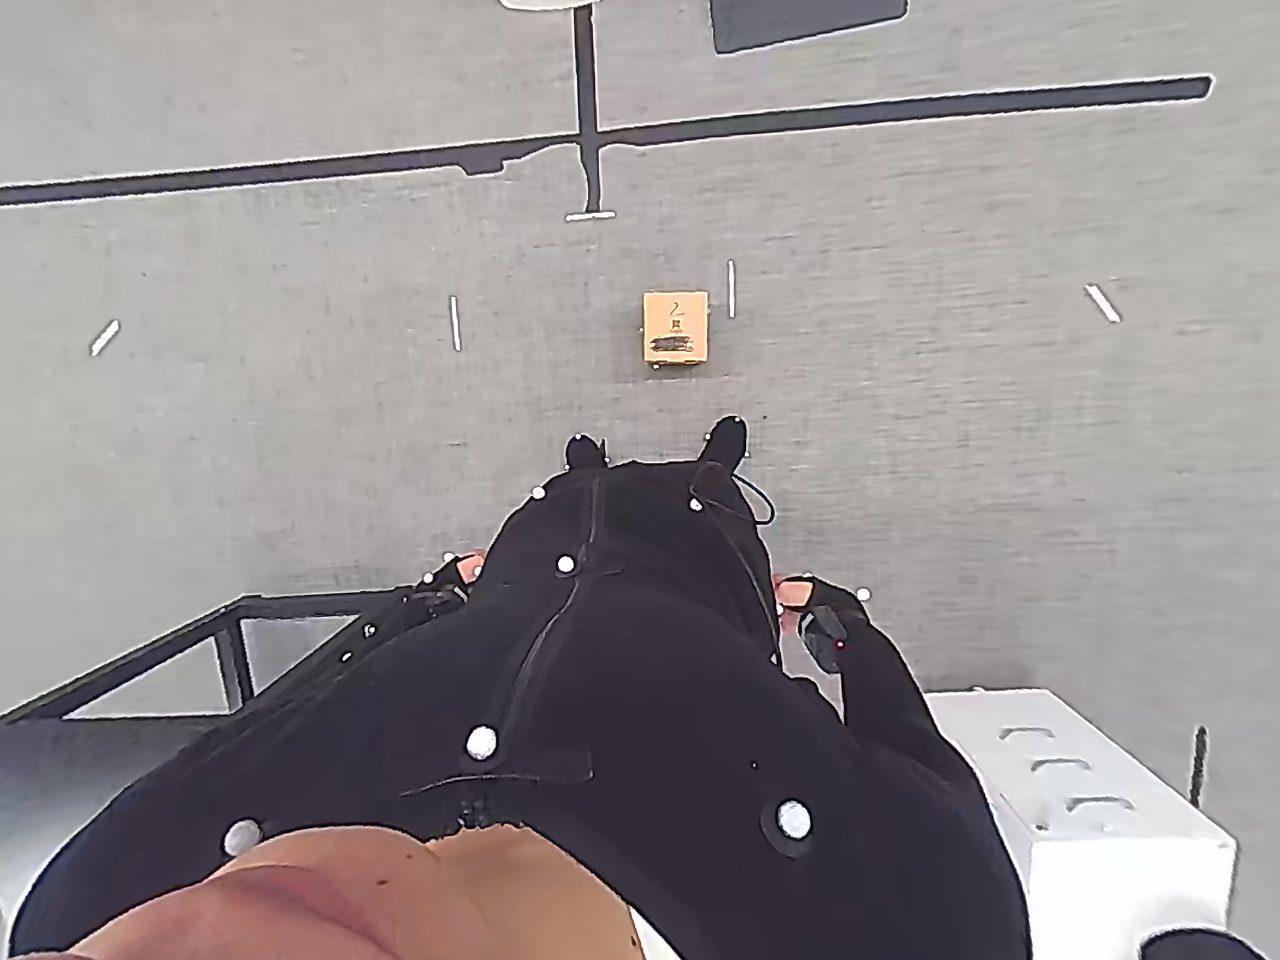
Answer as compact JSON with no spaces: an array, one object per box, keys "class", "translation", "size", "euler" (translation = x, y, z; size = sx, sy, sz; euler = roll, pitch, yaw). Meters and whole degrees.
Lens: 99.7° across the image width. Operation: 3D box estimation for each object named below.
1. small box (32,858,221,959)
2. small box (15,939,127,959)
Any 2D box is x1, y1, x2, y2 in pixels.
[{"class":"small box","translation":[-0.931,0.834,0.996],"size":[0.179,0.176,0.168],"euler":[-3,100,3]},{"class":"small box","translation":[-0.933,0.863,0.834],"size":[0.168,0.176,0.179],"euler":[-6,99,4]}]
